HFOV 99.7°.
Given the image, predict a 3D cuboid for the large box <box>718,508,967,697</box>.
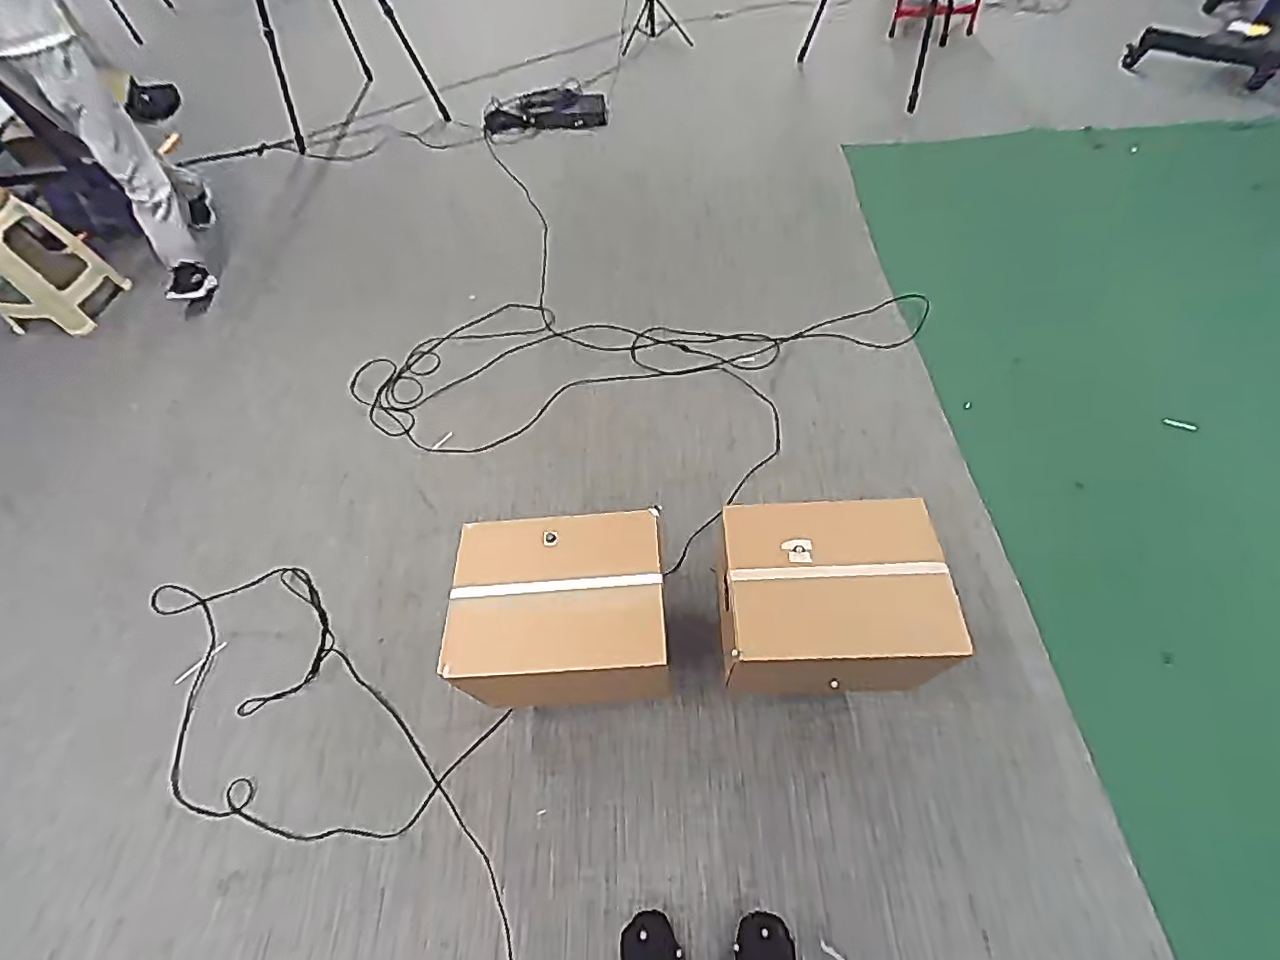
[{"bbox_3d":[0.385,0.274,1.154,0.408,0.320,0.320,-2,57,3],"label":"large box"}]
